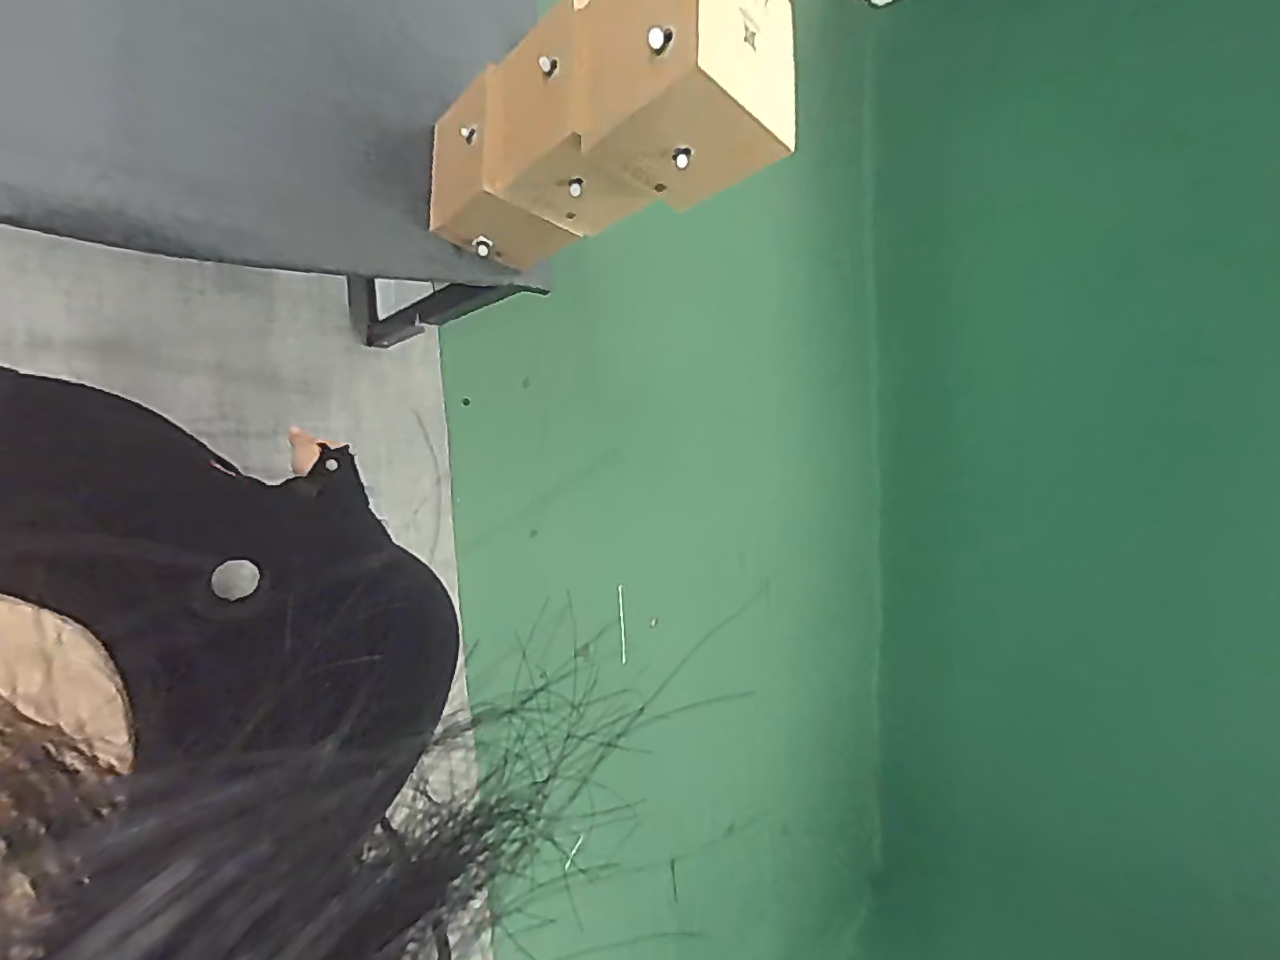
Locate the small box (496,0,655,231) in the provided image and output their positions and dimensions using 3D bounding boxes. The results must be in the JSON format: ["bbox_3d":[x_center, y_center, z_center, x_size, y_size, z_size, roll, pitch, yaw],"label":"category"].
[{"bbox_3d":[-0.073,-0.454,0.698,0.168,0.176,0.179,3,85,-44],"label":"small box"}]

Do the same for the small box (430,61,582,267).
[{"bbox_3d":[-0.197,-0.449,0.803,0.168,0.176,0.179,6,85,-44],"label":"small box"}]

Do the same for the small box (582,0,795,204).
[{"bbox_3d":[0.050,-0.437,0.586,0.168,0.176,0.179,4,84,-45],"label":"small box"}]
